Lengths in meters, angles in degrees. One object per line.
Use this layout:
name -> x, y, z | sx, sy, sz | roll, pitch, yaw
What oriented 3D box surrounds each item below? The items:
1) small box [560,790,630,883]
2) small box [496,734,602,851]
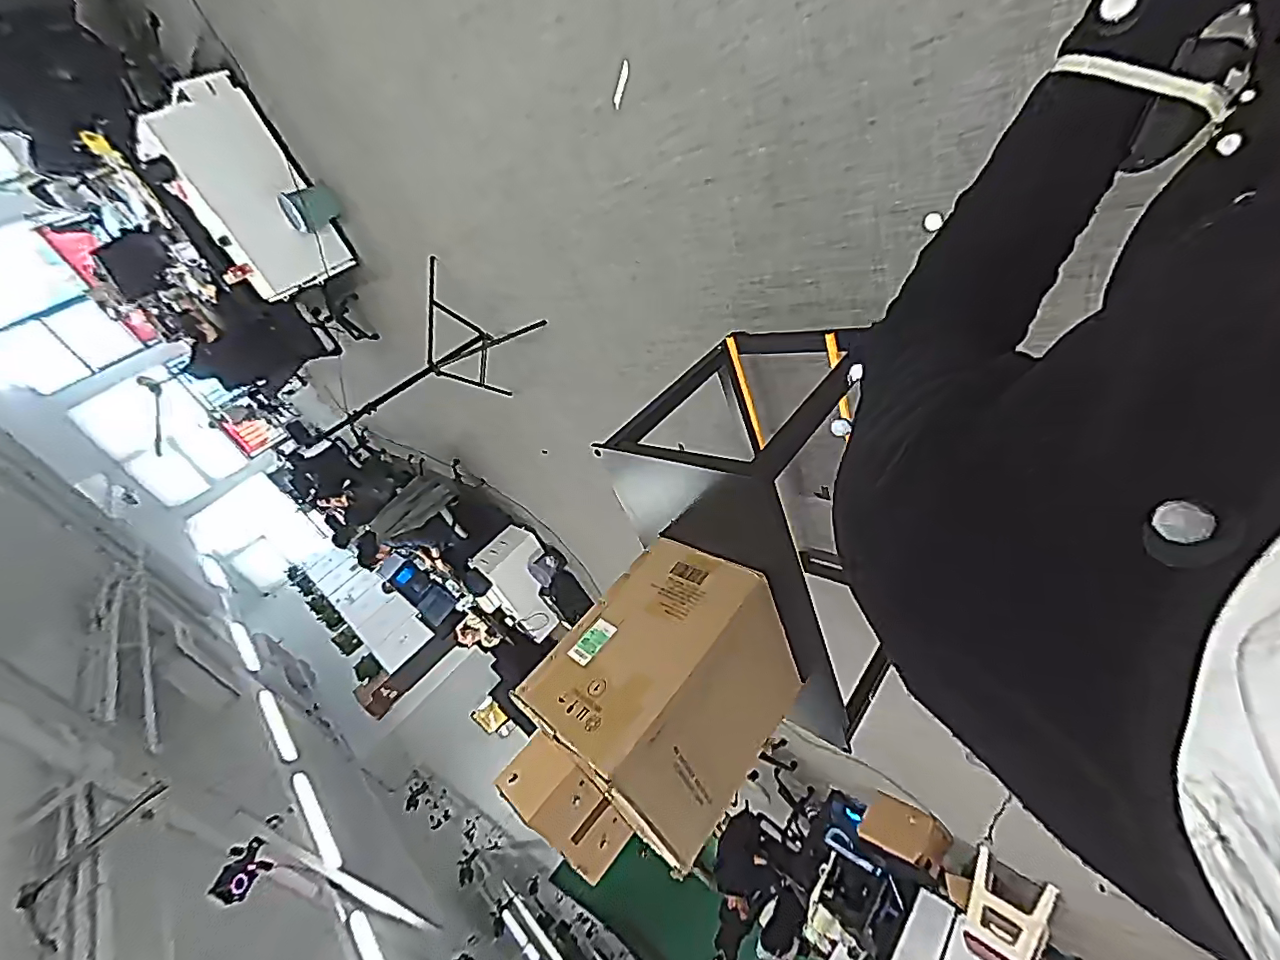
small box -> -0.151, 0.964, 1.517 | 0.179, 0.176, 0.168 | 11, 136, 49
small box -> -0.230, 0.791, 1.392 | 0.179, 0.176, 0.168 | 14, 140, 48
